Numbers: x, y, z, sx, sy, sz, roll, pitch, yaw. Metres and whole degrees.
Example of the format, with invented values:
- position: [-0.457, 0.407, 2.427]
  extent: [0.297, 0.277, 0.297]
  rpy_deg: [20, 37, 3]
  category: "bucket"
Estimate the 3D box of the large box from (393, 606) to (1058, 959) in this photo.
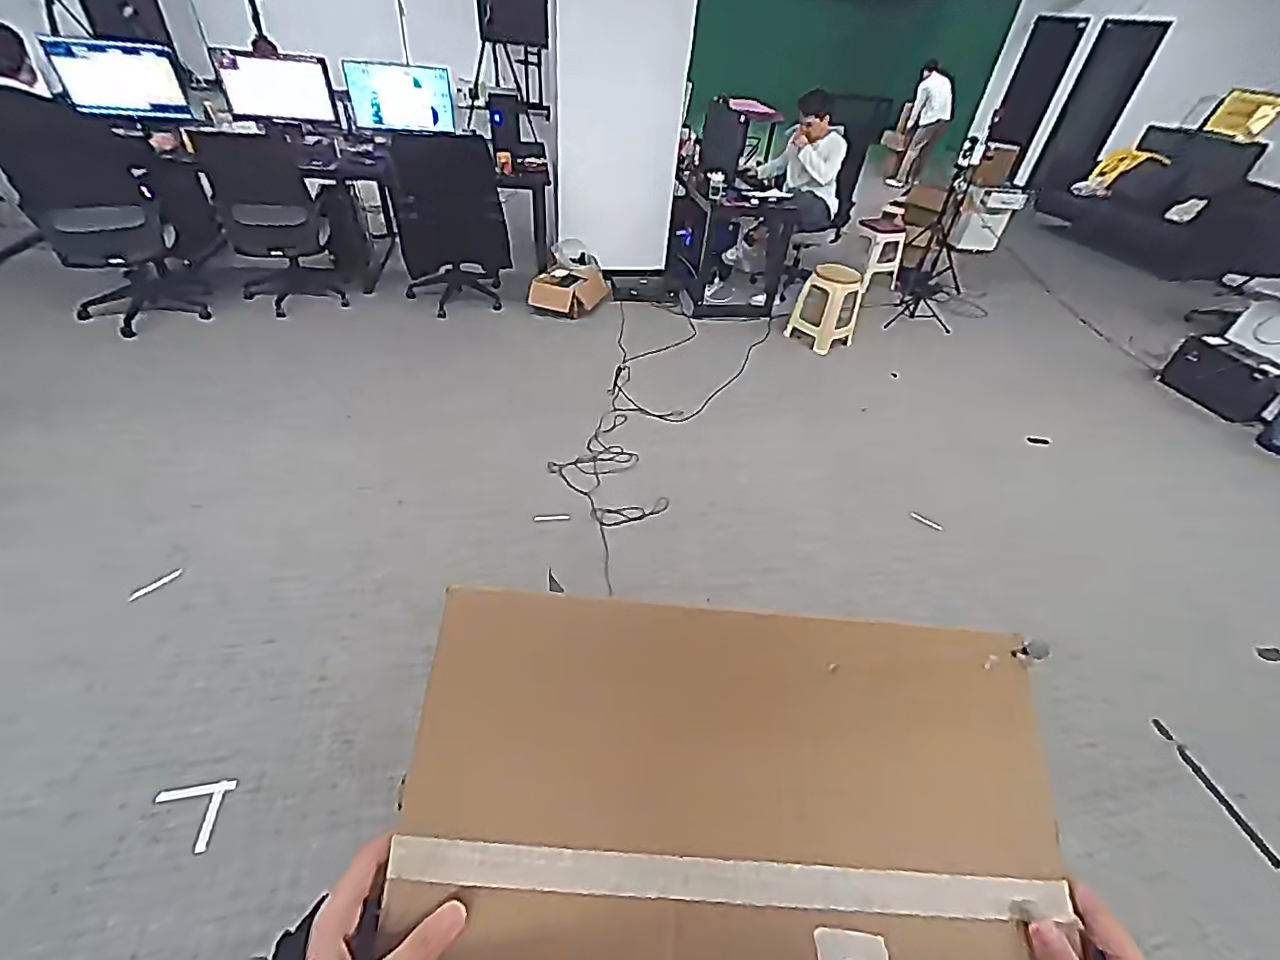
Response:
- position: [0.046, 0.300, 0.470]
  extent: [0.408, 0.320, 0.320]
  rpy_deg: [5, 69, -3]
  category: "large box"
